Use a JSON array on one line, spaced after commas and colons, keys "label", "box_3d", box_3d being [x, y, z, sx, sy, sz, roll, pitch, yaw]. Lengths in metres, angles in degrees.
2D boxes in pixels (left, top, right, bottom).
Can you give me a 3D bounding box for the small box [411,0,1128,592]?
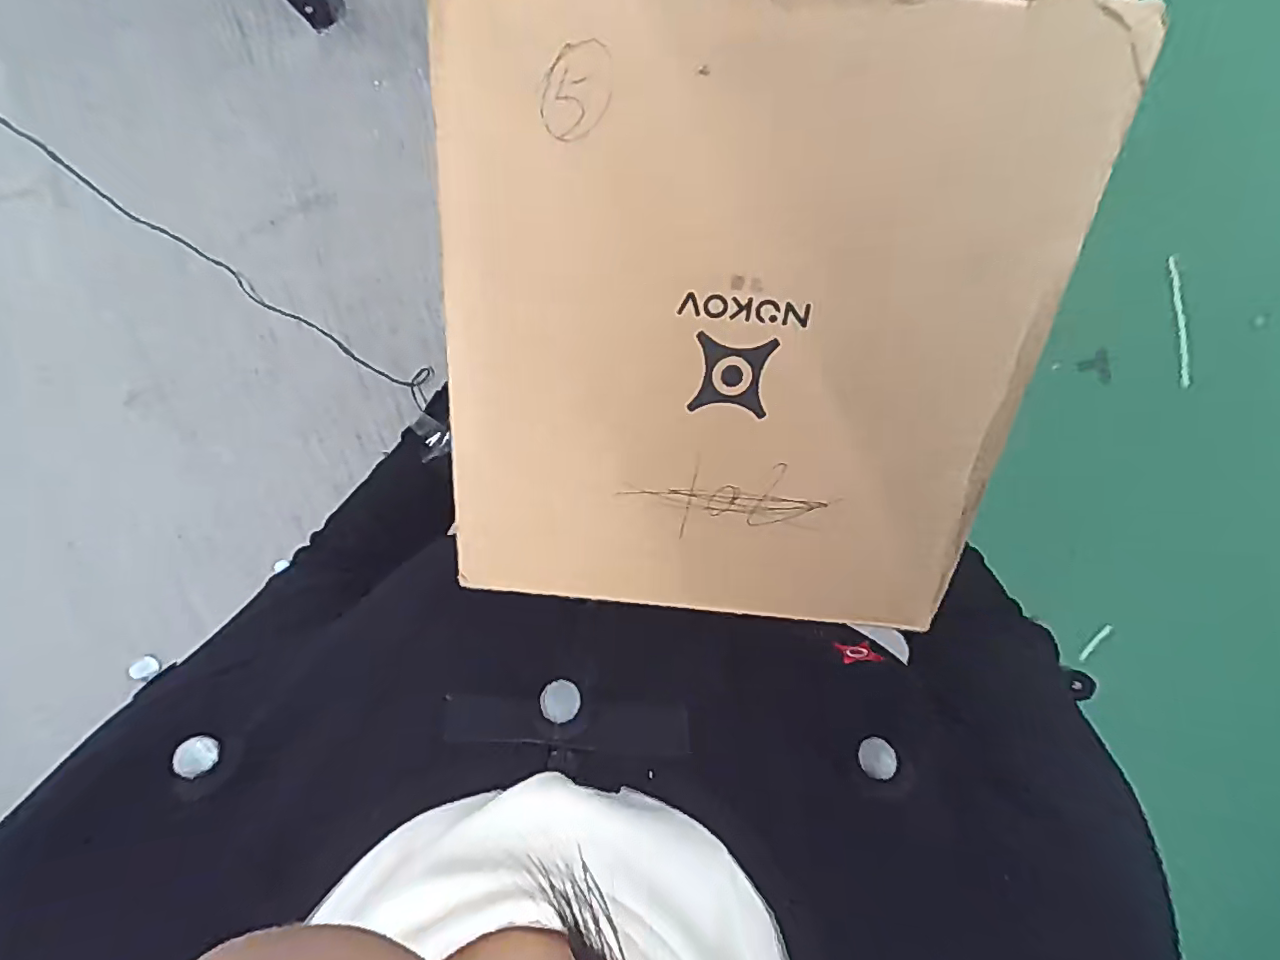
[{"label": "small box", "box_3d": [0.025, -0.080, 0.224, 0.168, 0.176, 0.179, 6, 115, 1]}]
